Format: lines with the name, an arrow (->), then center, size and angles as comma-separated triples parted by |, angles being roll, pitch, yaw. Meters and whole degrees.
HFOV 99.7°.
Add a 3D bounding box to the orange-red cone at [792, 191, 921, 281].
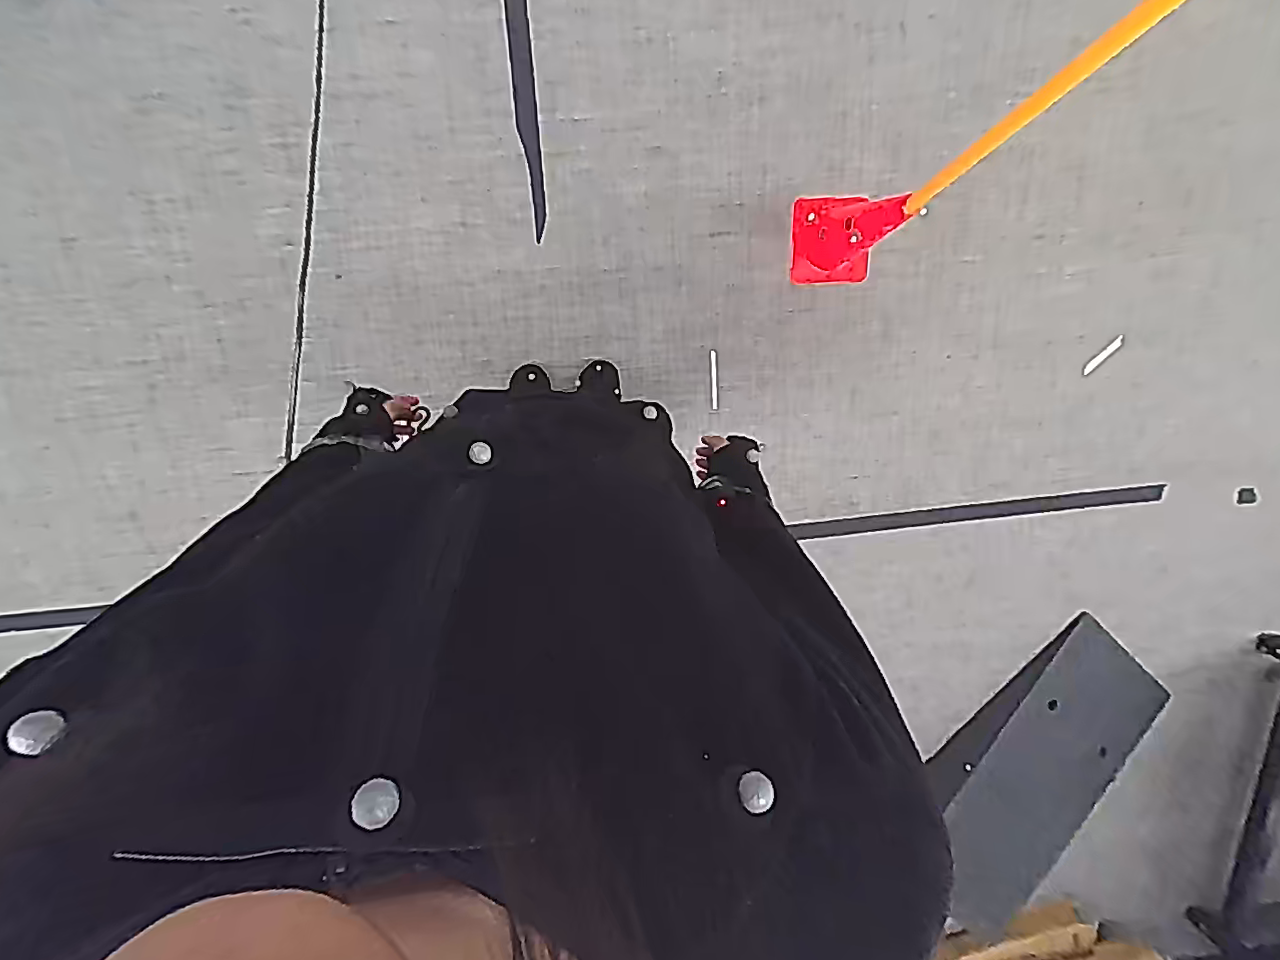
orange-red cone -> 0.488, -0.553, 1.164 | 0.198, 0.360, 0.199 | -2, 104, -4
